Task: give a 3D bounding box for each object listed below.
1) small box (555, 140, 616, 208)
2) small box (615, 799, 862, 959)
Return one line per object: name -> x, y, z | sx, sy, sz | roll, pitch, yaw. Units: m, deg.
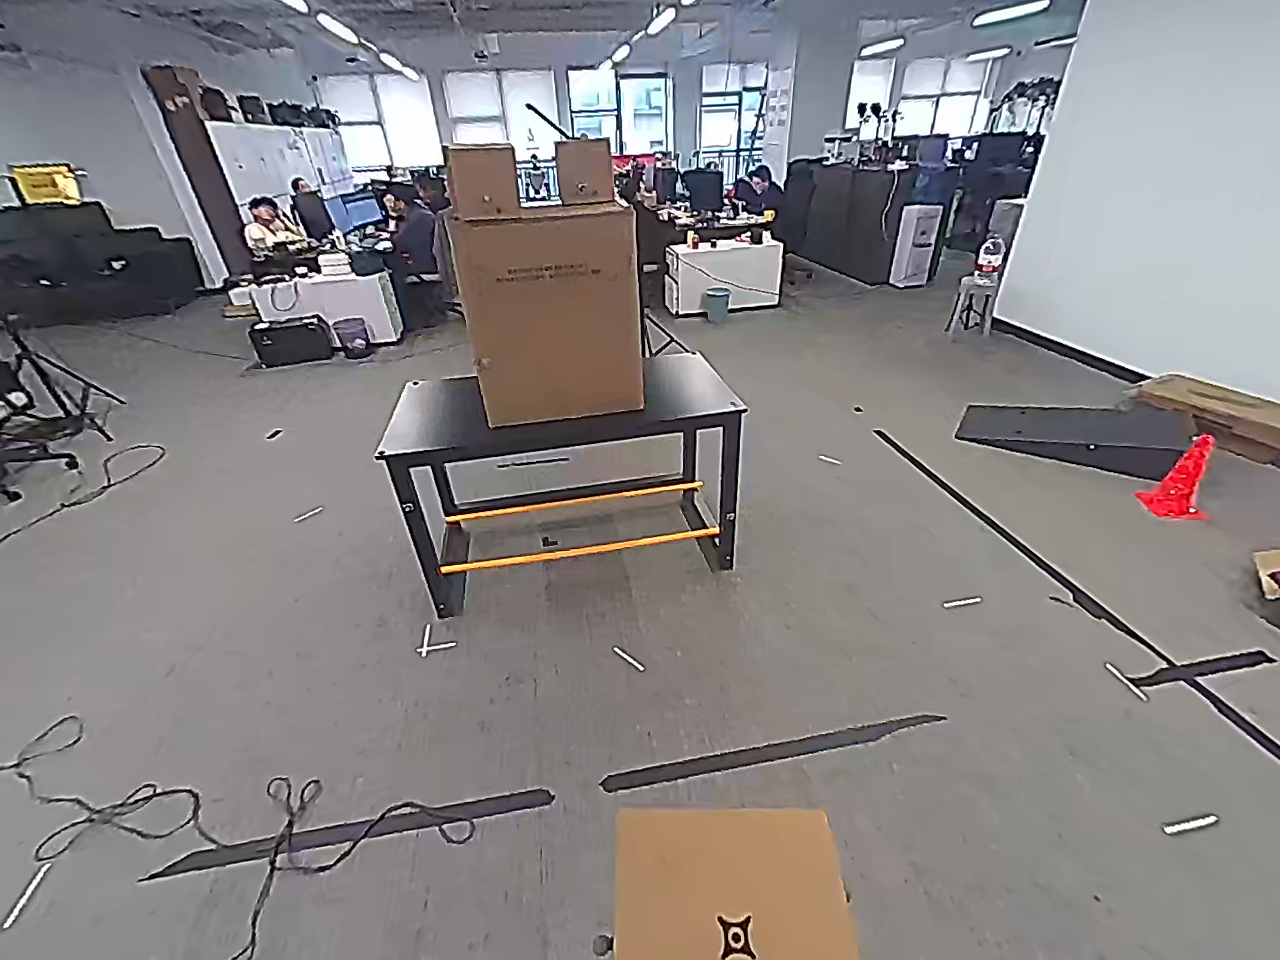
small box -> -0.170, -0.944, 1.668 | 0.168, 0.176, 0.179 | -9, 32, -5
small box -> 0.063, 0.372, 0.414 | 0.168, 0.176, 0.179 | 1, 40, 0
